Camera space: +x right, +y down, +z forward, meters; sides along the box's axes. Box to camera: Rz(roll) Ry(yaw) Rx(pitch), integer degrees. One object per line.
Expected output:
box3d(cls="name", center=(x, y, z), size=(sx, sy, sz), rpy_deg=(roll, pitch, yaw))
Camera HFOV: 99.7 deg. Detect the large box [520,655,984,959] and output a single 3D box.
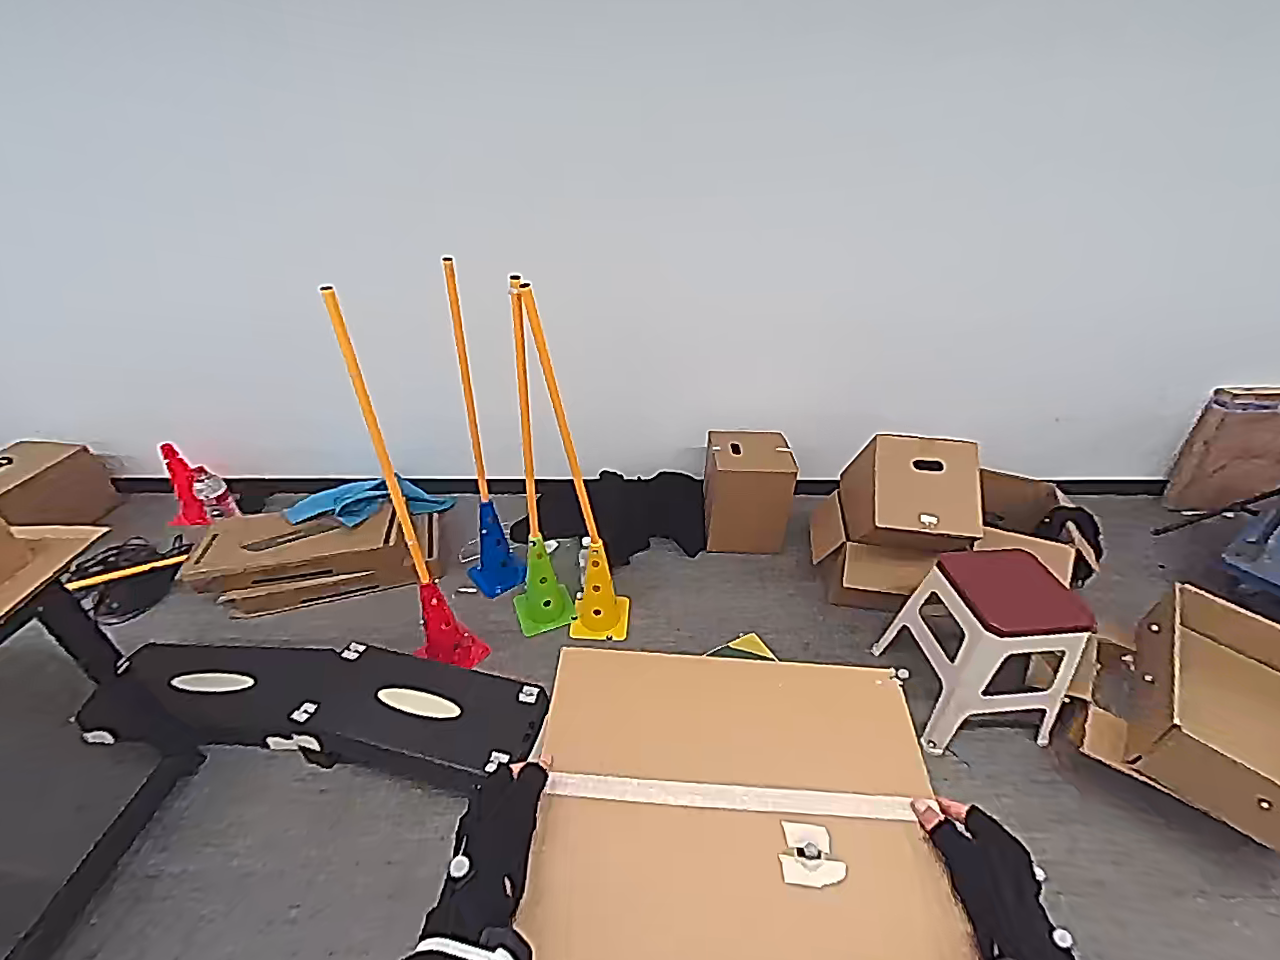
box3d(cls="large box", center=(0.099, 0.439, 0.650), size=(0.408, 0.320, 0.320), rpy_deg=(3, 41, 2))
